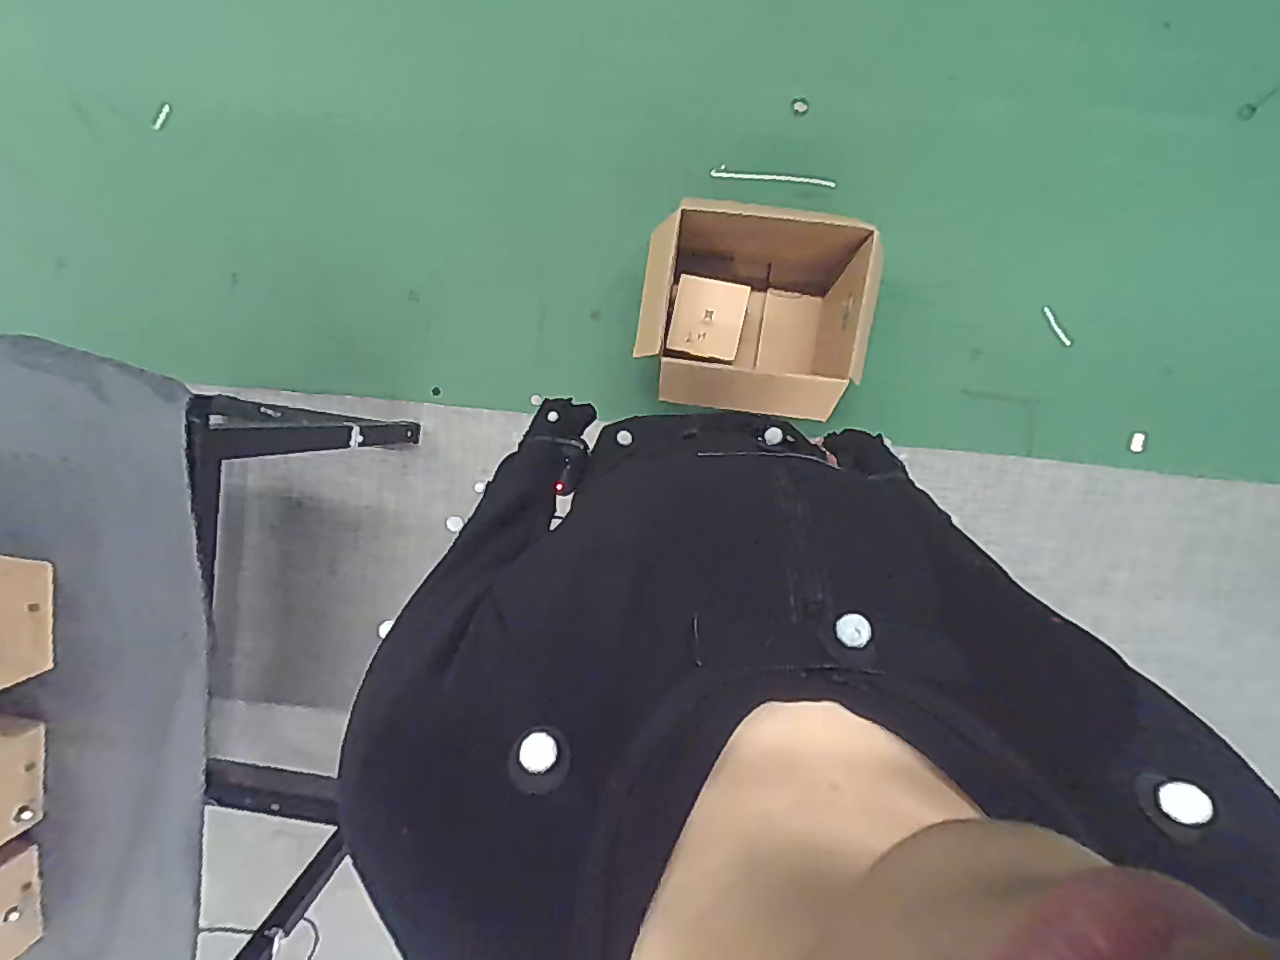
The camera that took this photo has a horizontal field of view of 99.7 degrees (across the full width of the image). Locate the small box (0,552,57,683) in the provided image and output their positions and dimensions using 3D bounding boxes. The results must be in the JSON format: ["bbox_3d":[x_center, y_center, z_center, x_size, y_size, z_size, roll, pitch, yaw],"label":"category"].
[{"bbox_3d":[-0.952,0.193,0.728,0.179,0.176,0.168,8,97,2],"label":"small box"}]
